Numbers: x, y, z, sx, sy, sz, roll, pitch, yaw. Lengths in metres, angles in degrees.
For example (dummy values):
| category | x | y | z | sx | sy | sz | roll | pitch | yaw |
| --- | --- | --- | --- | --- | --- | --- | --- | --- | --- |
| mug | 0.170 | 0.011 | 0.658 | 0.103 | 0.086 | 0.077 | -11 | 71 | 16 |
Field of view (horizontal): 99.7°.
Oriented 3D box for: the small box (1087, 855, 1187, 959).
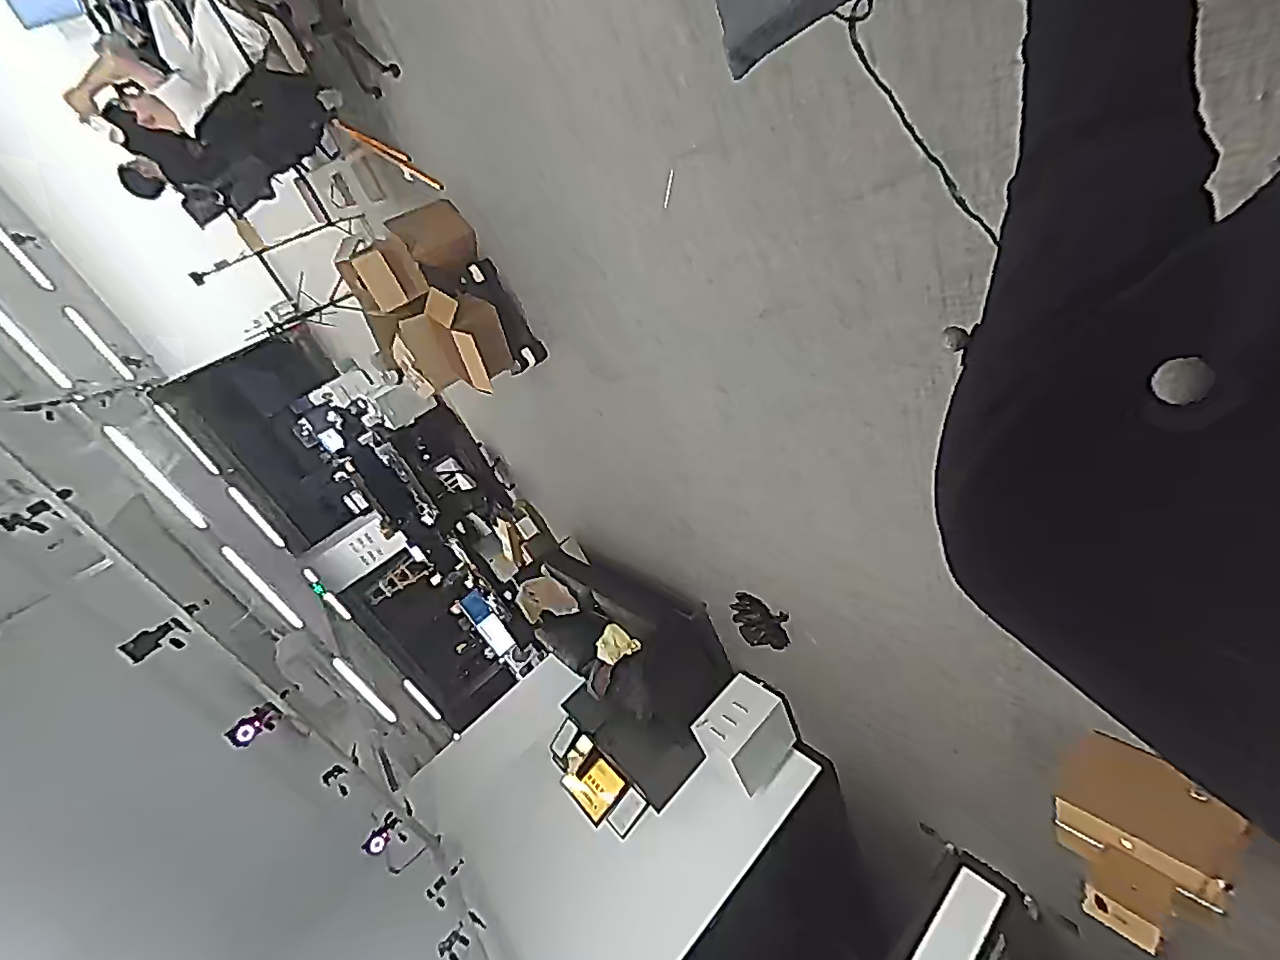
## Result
| category | x | y | z | sx | sy | sz | roll | pitch | yaw |
| --- | --- | --- | --- | --- | --- | --- | --- | --- | --- |
| small box | 1.523 | 1.300 | 1.660 | 0.179 | 0.176 | 0.168 | 22 | 138 | 48 |
